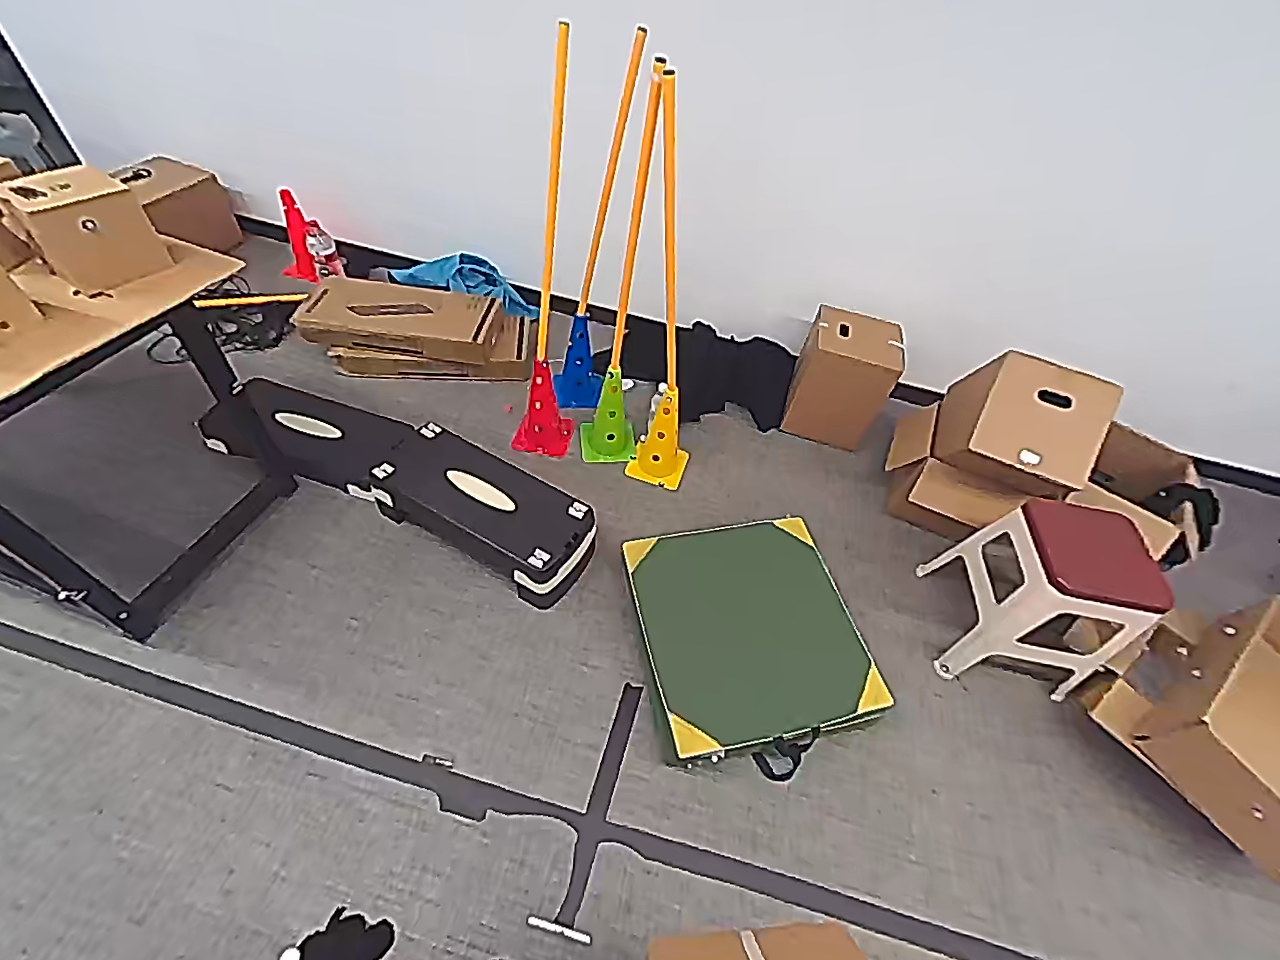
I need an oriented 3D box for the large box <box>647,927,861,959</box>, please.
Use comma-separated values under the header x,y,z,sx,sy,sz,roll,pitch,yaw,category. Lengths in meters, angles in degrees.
x,y,z,sx,sy,sz,roll,pitch,yaw,category
0.186,0.824,0.627,0.320,0.408,0.320,-2,79,-5,large box
